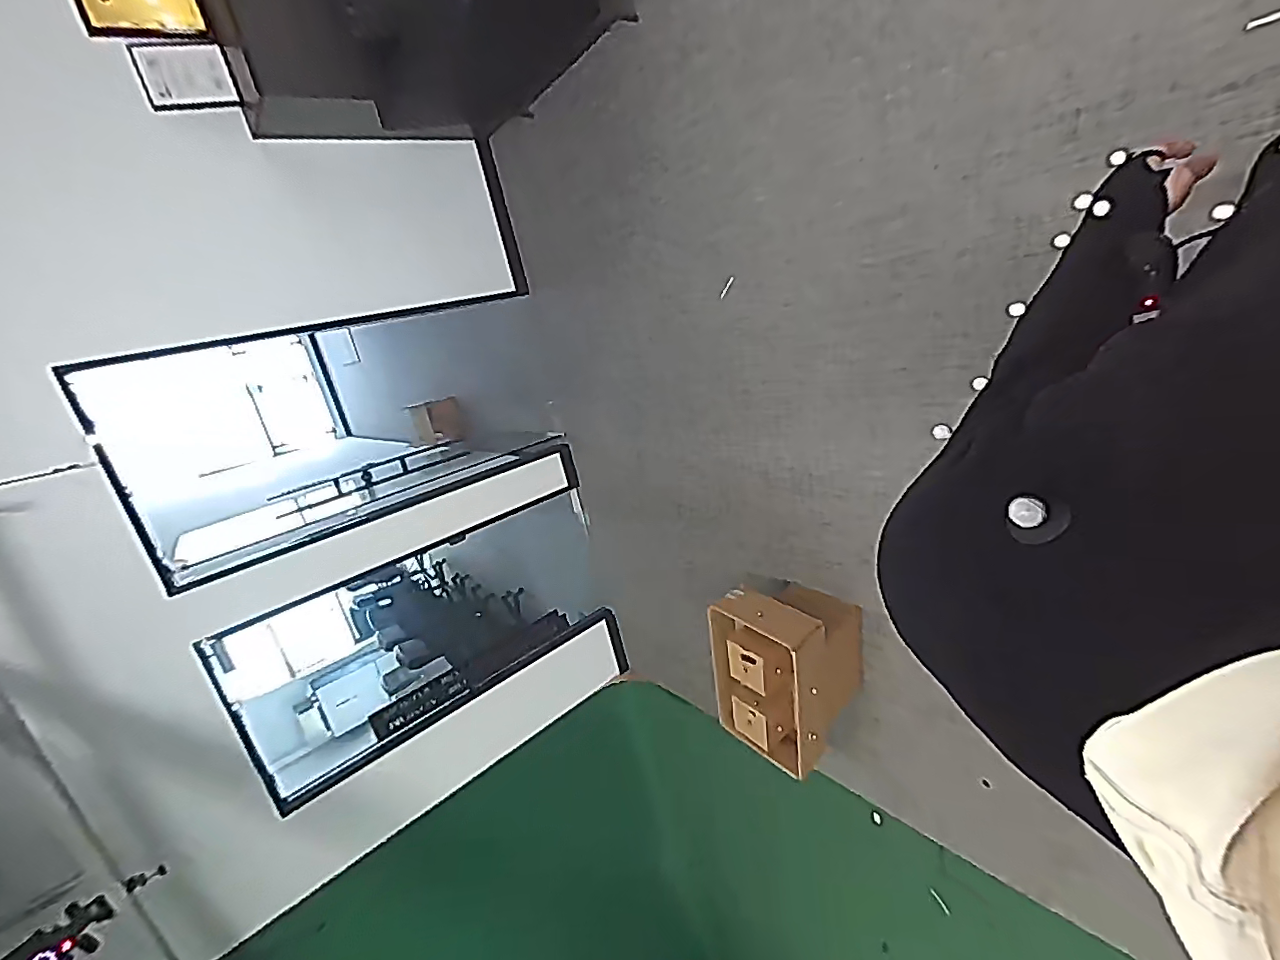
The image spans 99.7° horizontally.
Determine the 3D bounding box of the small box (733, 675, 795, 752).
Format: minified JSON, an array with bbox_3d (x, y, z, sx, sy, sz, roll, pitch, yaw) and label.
[{"bbox_3d":[0.482,0.898,2.090,0.168,0.176,0.179,19,125,49],"label":"small box"}]
